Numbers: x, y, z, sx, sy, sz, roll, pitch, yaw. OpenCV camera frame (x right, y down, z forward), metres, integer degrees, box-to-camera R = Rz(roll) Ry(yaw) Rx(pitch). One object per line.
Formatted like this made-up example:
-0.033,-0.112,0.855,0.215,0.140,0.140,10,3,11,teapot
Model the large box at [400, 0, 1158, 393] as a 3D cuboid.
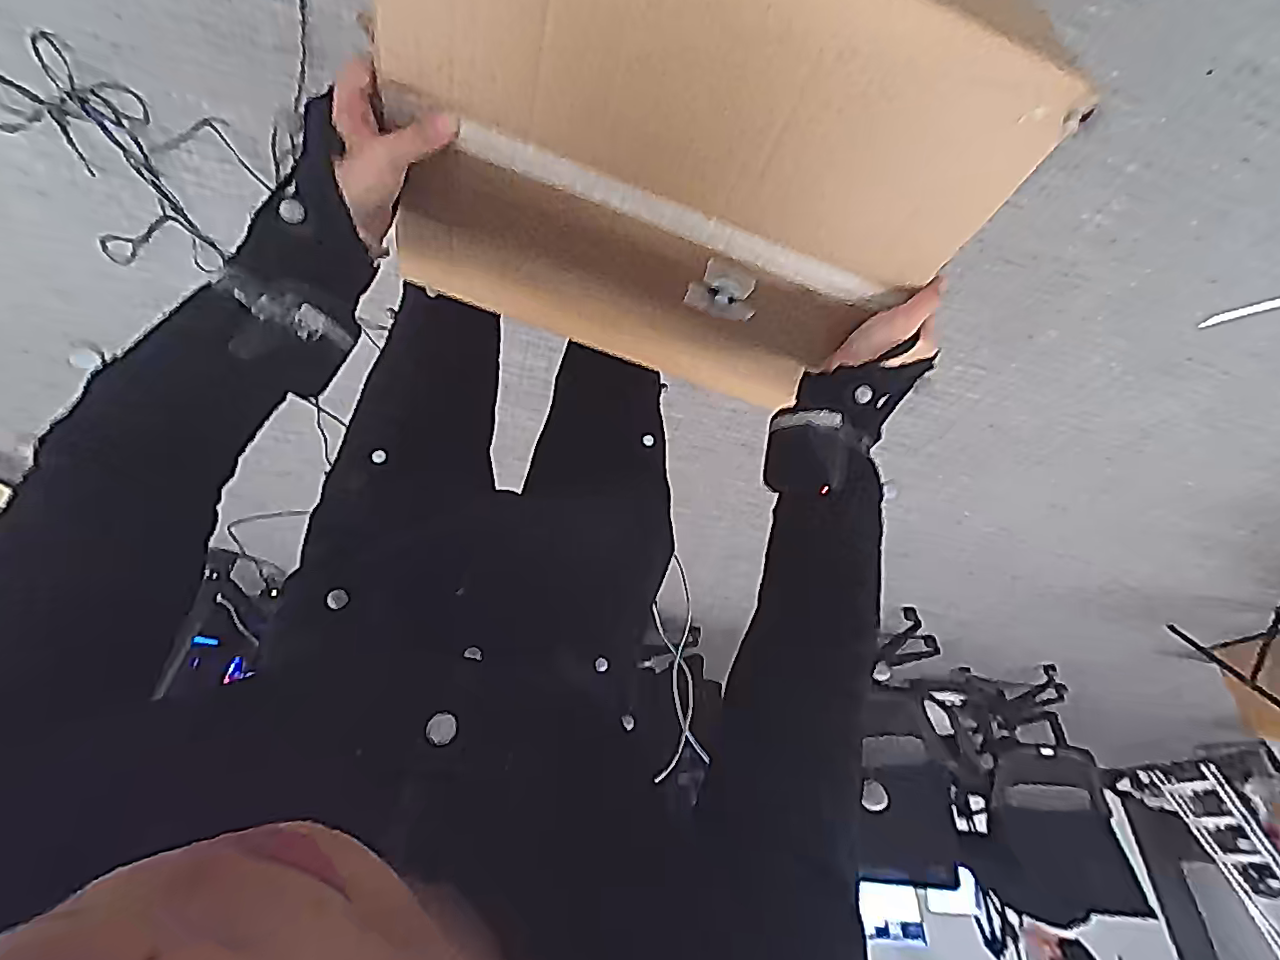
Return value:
0.060,-0.335,0.452,0.408,0.320,0.320,17,147,-9,large box
